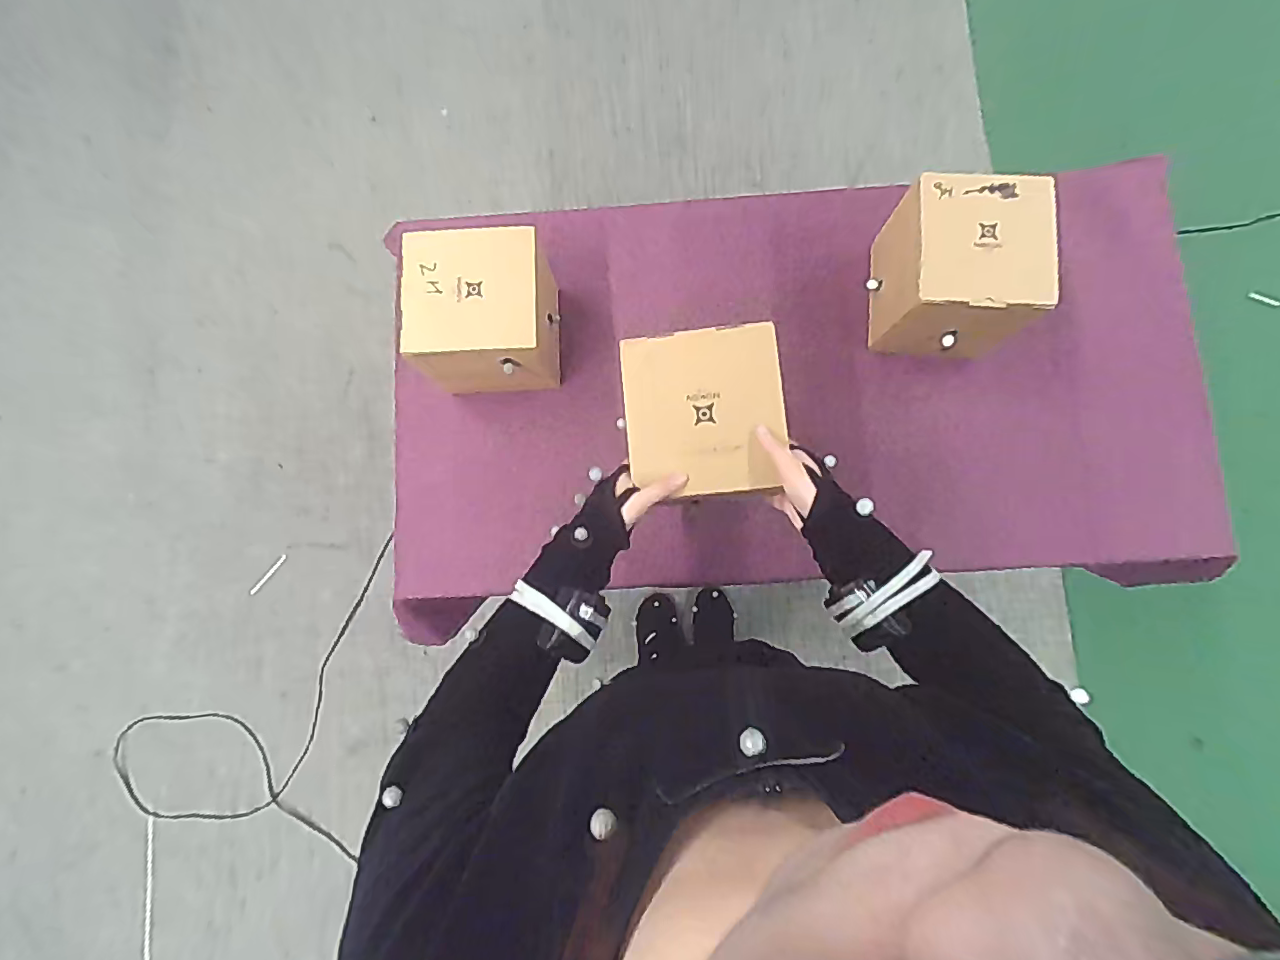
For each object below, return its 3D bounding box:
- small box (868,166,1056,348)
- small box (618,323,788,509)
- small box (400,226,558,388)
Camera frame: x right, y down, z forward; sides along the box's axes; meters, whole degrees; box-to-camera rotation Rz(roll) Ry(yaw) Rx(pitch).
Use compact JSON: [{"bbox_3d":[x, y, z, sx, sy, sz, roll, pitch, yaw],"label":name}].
[{"bbox_3d":[0.427,-0.293,0.743,0.168,0.176,0.179,5,84,3],"label":"small box"},{"bbox_3d":[0.070,-0.063,0.638,0.168,0.176,0.179,-6,84,6],"label":"small box"},{"bbox_3d":[-0.215,-0.235,0.768,0.179,0.176,0.168,-2,82,2],"label":"small box"}]
